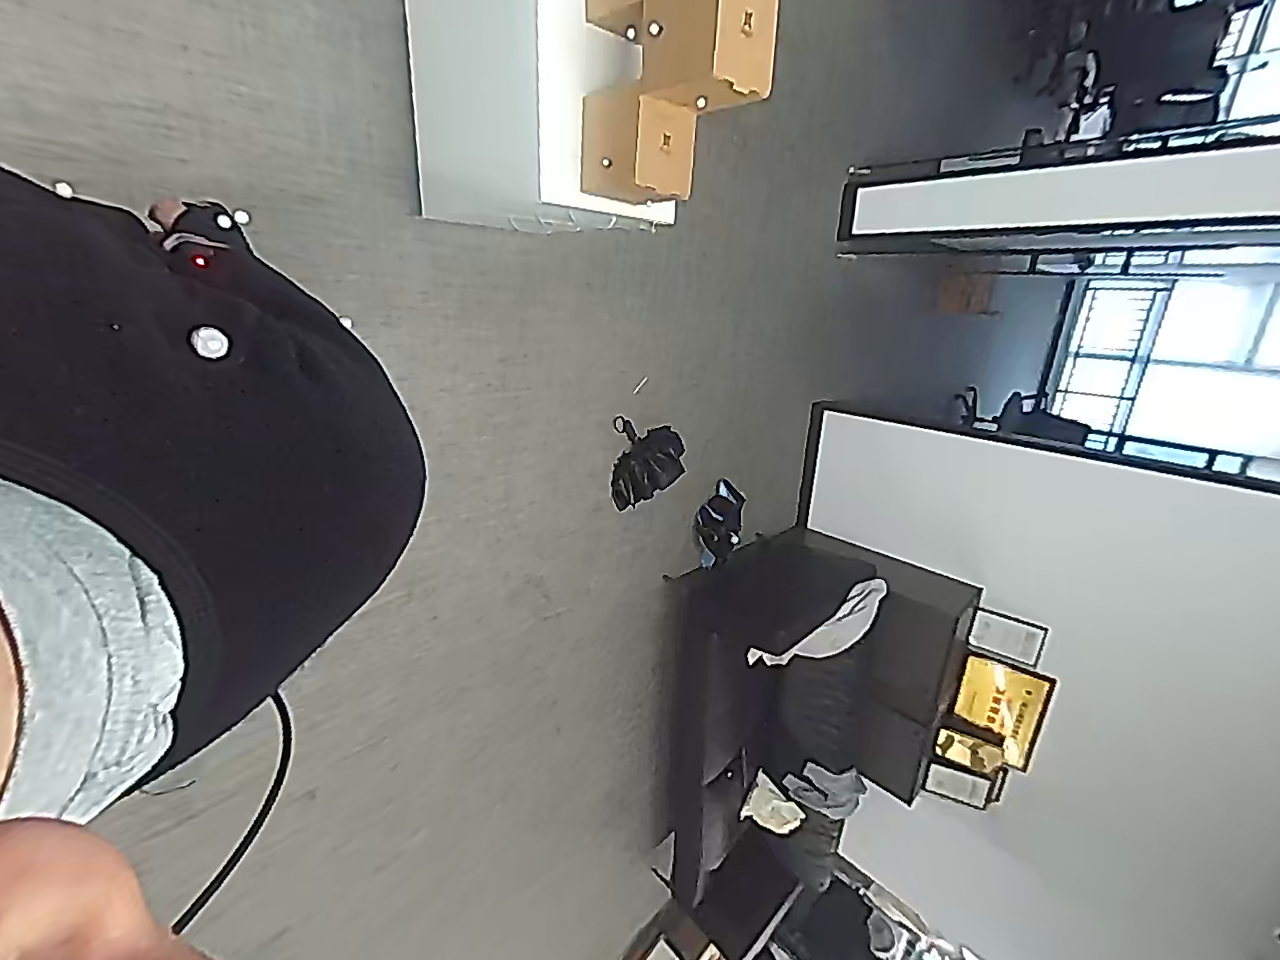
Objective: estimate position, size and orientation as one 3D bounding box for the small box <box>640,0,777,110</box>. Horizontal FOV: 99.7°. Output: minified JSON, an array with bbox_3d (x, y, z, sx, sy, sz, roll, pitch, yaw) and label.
[{"bbox_3d":[0.114,-0.771,0.944,0.168,0.176,0.179,-19,120,-42],"label":"small box"}]

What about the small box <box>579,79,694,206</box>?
[{"bbox_3d":[-0.011,-0.670,1.099,0.168,0.176,0.179,-15,114,-44],"label":"small box"}]

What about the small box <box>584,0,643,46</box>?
[{"bbox_3d":[0.008,-0.951,1.003,0.168,0.176,0.179,-18,120,-41],"label":"small box"}]
